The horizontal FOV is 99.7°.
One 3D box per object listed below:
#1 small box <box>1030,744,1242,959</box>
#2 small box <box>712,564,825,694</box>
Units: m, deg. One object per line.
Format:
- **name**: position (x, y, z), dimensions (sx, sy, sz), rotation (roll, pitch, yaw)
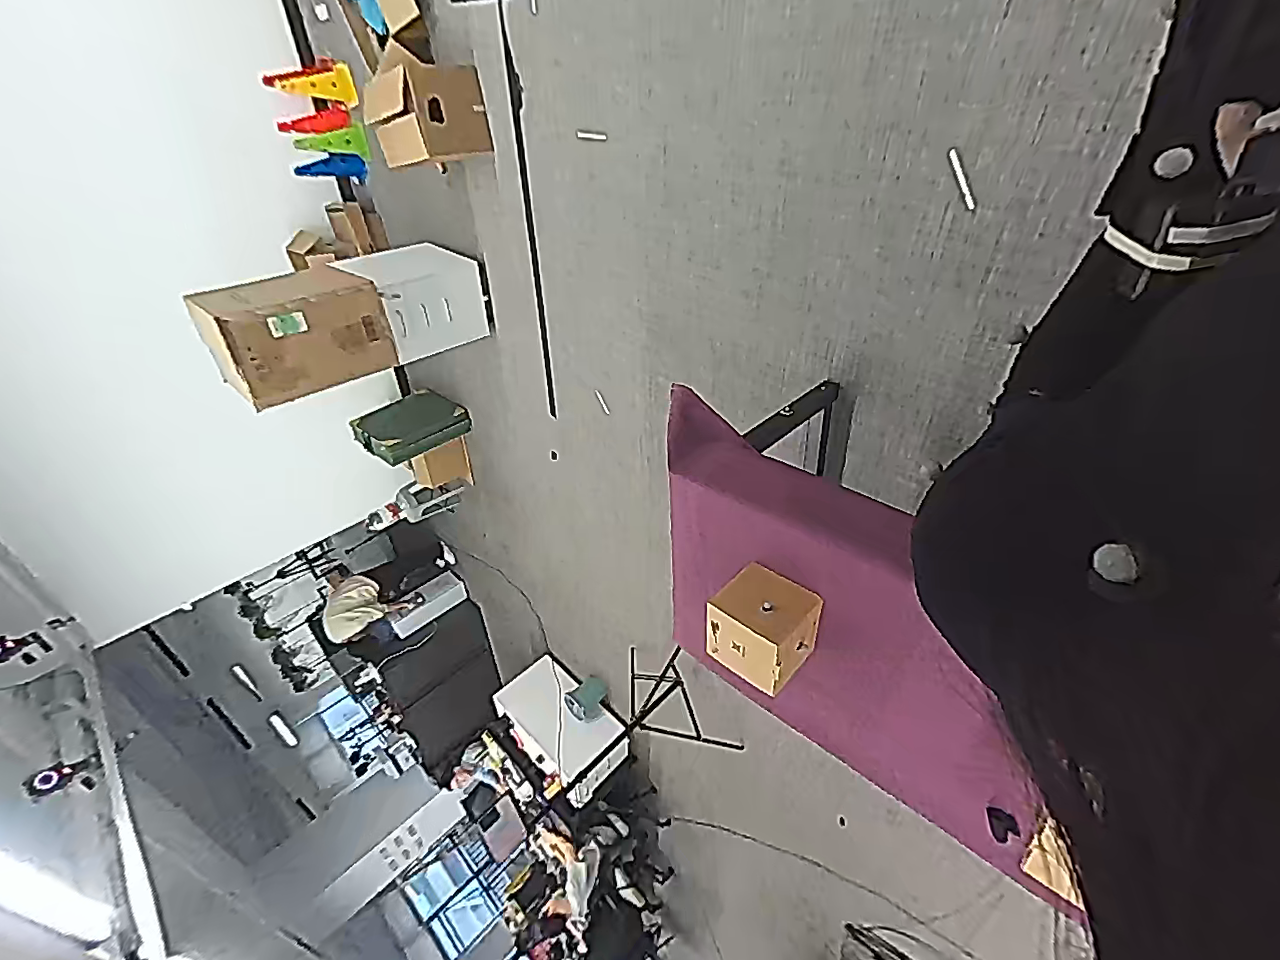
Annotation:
- **small box**: position (0.704, 0.518, 0.775), dimensions (0.179, 0.176, 0.168), rotation (22, 133, 40)
- **small box**: position (0.273, 0.307, 1.152), dimensions (0.179, 0.176, 0.168), rotation (26, 134, 37)
